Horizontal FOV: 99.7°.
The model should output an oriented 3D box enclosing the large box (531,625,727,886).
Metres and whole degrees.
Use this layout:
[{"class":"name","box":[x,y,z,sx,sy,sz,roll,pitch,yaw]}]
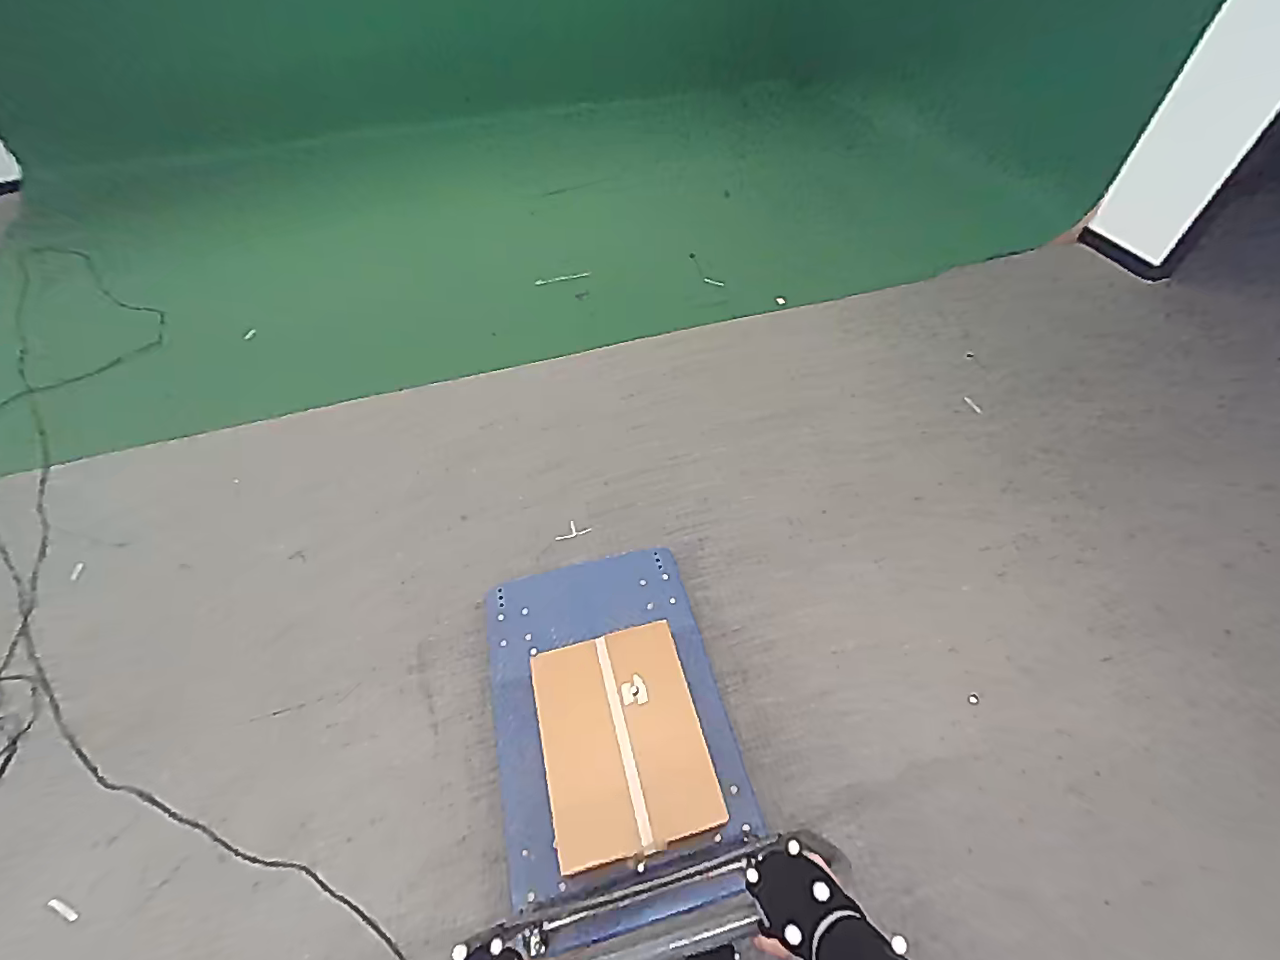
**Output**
[{"class":"large box","box":[-0.032,0.600,1.190,0.320,0.320,0.408,-12,51,-9]}]
